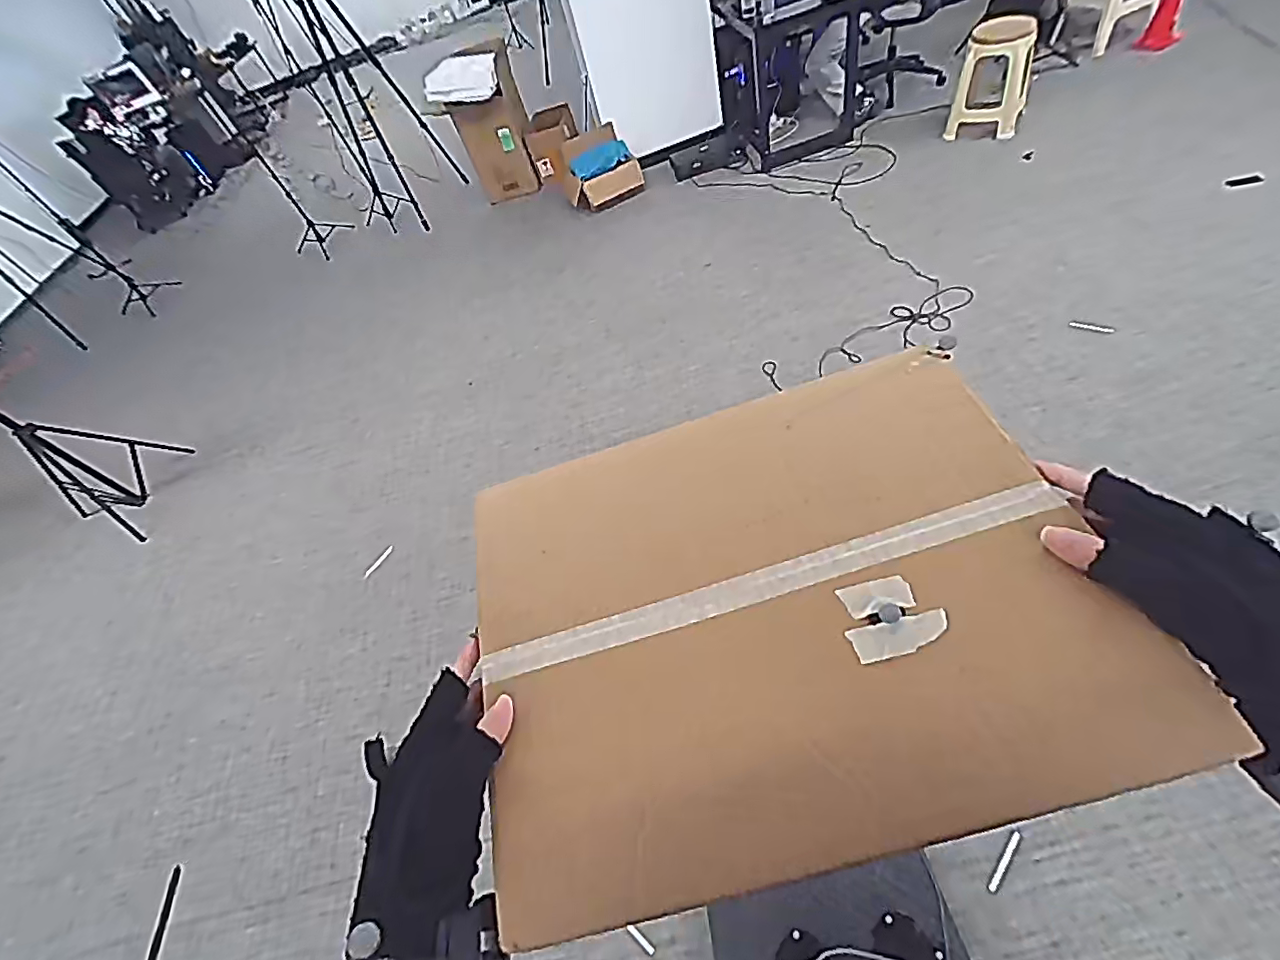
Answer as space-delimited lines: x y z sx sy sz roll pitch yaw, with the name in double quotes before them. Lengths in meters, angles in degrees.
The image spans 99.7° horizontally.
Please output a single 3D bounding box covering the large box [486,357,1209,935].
"large box" 0.117 0.156 0.504 0.408 0.320 0.320 -18 56 3
